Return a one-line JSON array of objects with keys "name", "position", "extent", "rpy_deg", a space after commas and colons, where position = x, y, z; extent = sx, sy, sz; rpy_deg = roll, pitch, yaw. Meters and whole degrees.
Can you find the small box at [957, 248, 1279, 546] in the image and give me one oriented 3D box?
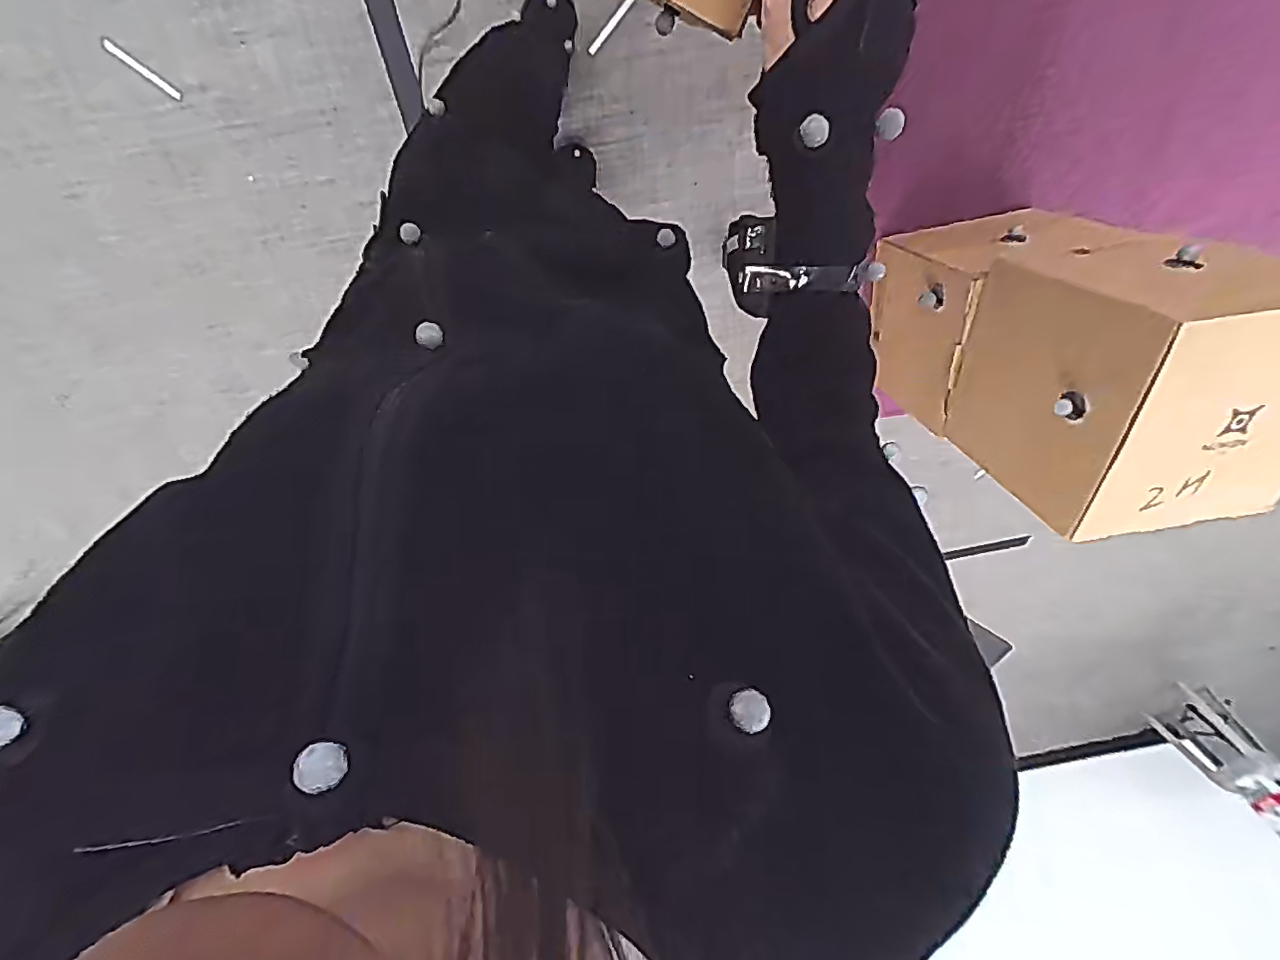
[{"name": "small box", "position": [0.392, -0.077, 0.432], "extent": [0.168, 0.176, 0.179], "rpy_deg": [-8, 126, -4]}]
